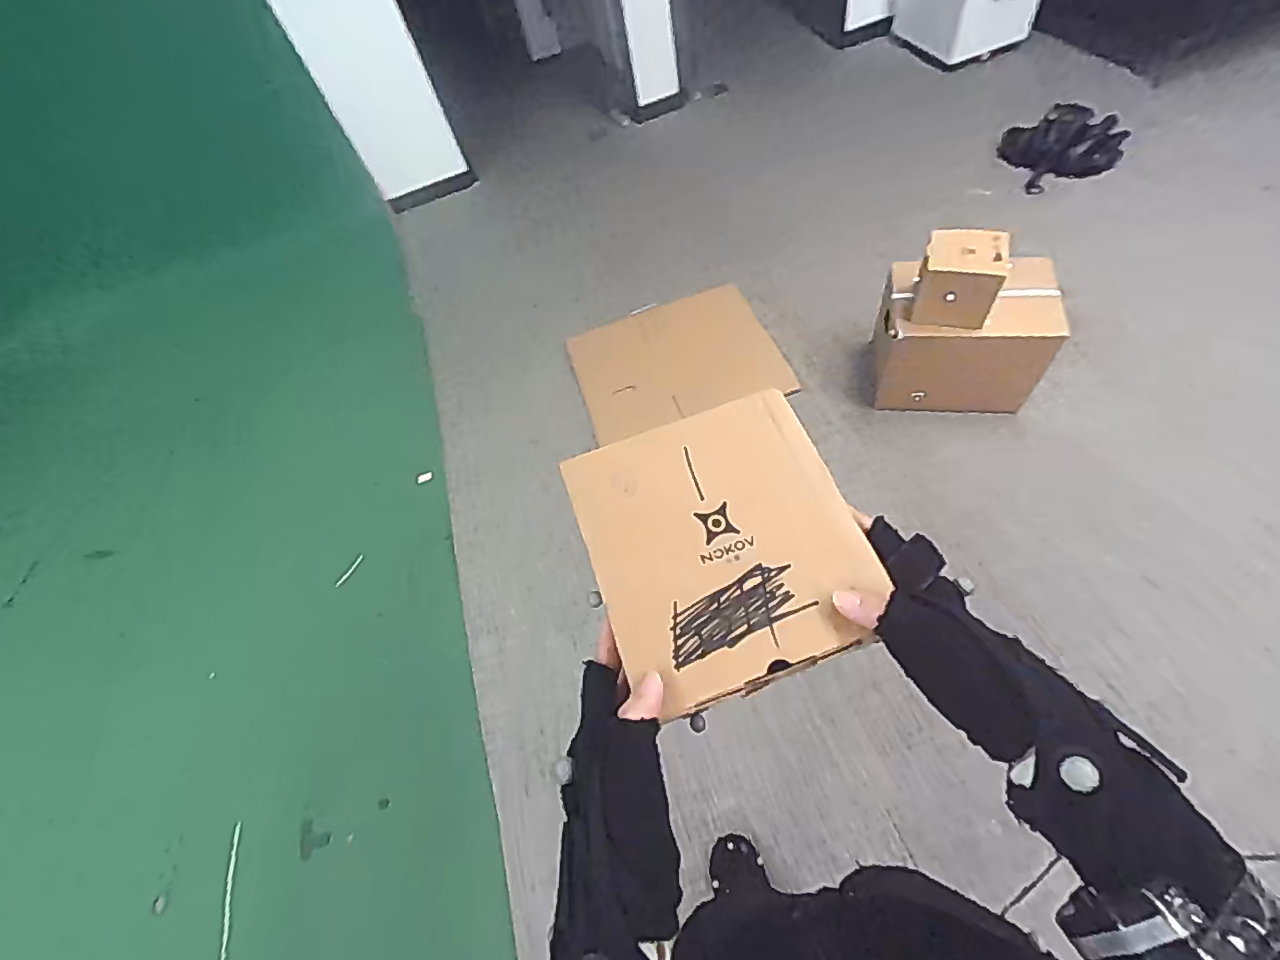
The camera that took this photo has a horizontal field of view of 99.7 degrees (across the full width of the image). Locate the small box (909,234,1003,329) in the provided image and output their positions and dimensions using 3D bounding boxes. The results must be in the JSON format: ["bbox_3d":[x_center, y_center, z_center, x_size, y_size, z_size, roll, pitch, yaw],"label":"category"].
[{"bbox_3d":[0.809,-0.512,1.400,0.179,0.176,0.168,9,59,16],"label":"small box"}]

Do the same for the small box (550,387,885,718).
[{"bbox_3d":[0.049,0.065,0.422,0.168,0.176,0.179,-22,67,-5],"label":"small box"}]
